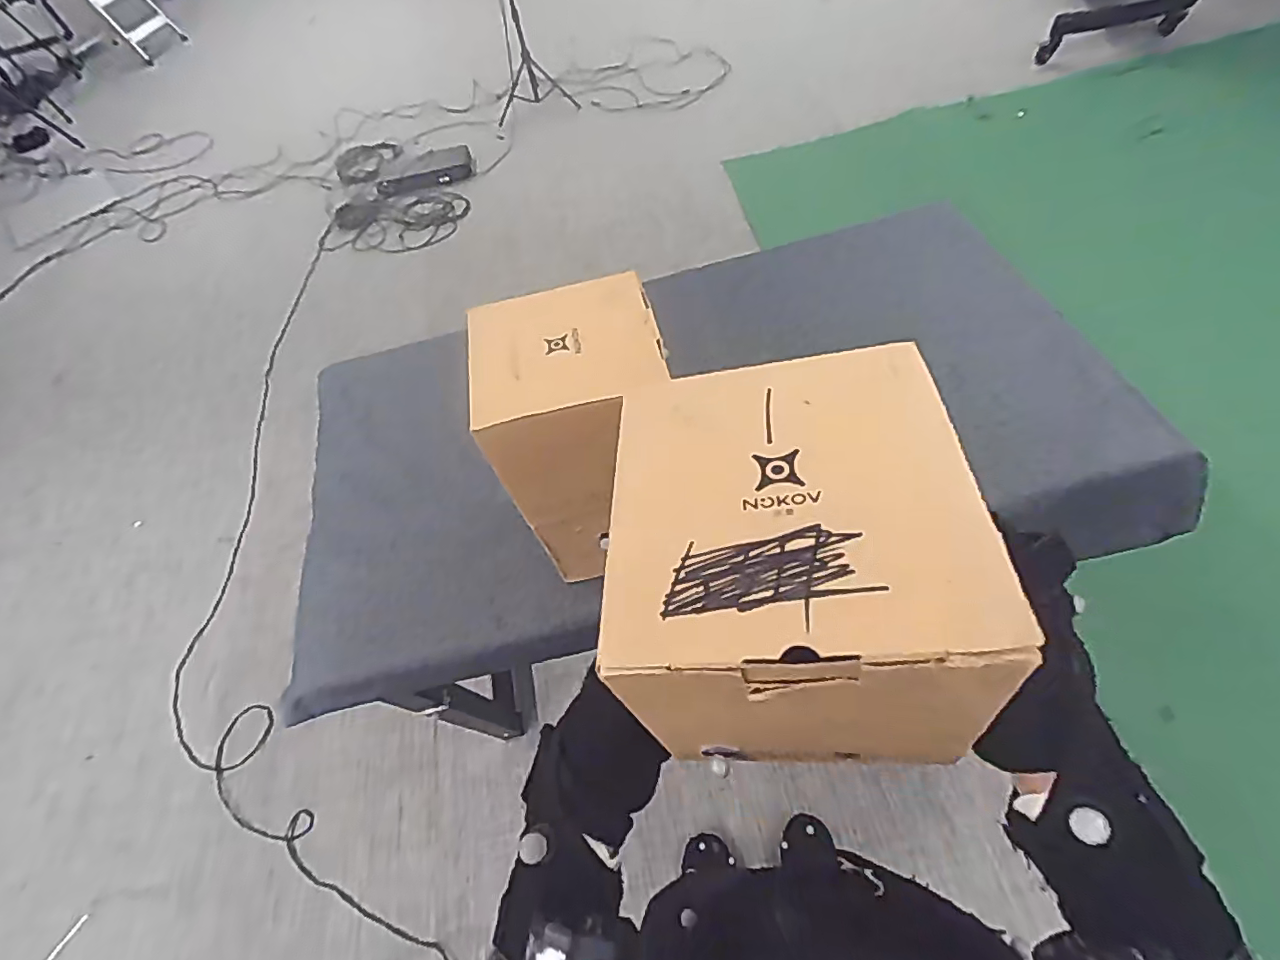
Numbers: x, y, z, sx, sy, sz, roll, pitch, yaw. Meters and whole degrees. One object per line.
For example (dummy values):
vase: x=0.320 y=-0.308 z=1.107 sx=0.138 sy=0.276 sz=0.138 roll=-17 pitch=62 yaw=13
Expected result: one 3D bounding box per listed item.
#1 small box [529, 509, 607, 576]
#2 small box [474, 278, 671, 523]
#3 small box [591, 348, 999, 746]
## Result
small box: x=-0.039 y=0.009 z=0.708 sx=0.179 sy=0.176 sz=0.168 roll=-13 pitch=56 yaw=1
small box: x=-0.060 y=-0.077 z=0.572 sx=0.179 sy=0.176 sz=0.168 roll=-14 pitch=54 yaw=1
small box: x=0.082 y=0.051 z=0.329 sx=0.168 sy=0.176 sz=0.179 roll=-6 pitch=50 yaw=13
